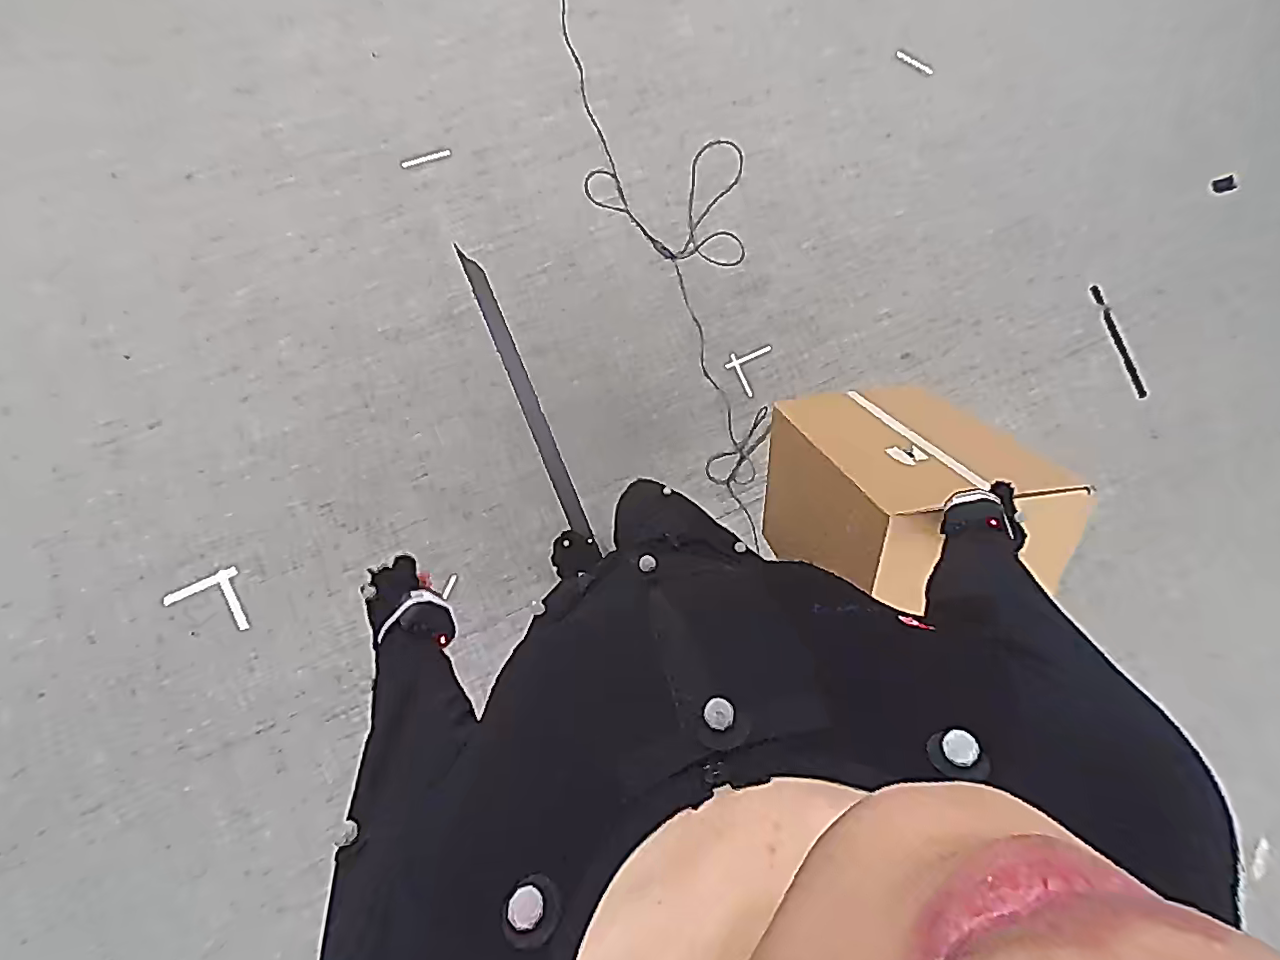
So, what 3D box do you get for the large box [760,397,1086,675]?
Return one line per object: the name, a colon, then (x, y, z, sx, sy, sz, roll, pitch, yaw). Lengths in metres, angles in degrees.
large box: (0.445, 0.074, 0.978, 0.320, 0.408, 0.320, -7, 120, -8)
